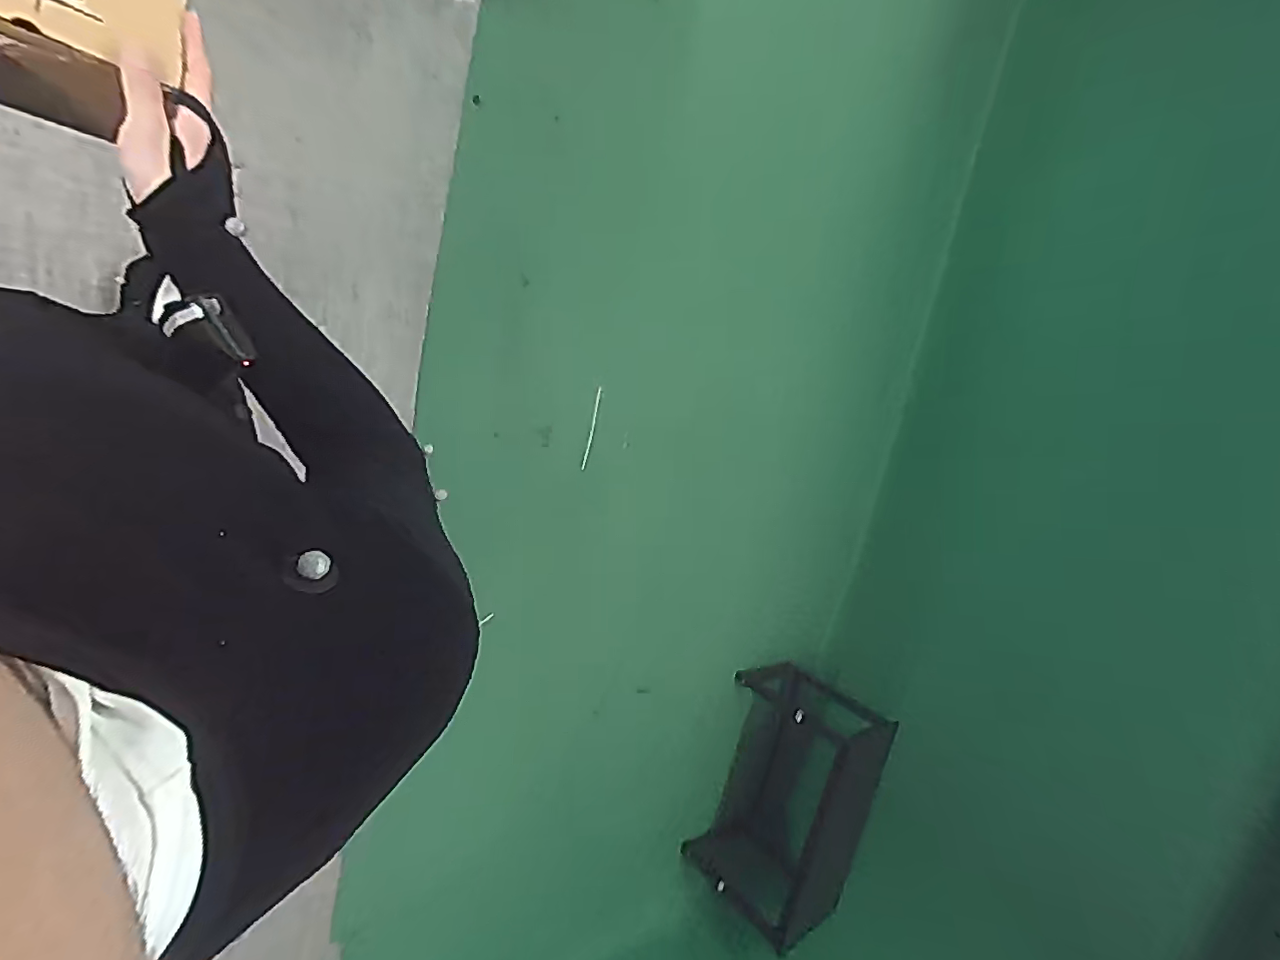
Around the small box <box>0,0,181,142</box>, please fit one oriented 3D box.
[{"bbox_3d":[-0.466,-0.404,0.418,0.168,0.176,0.179,3,94,-44],"label":"small box"}]
